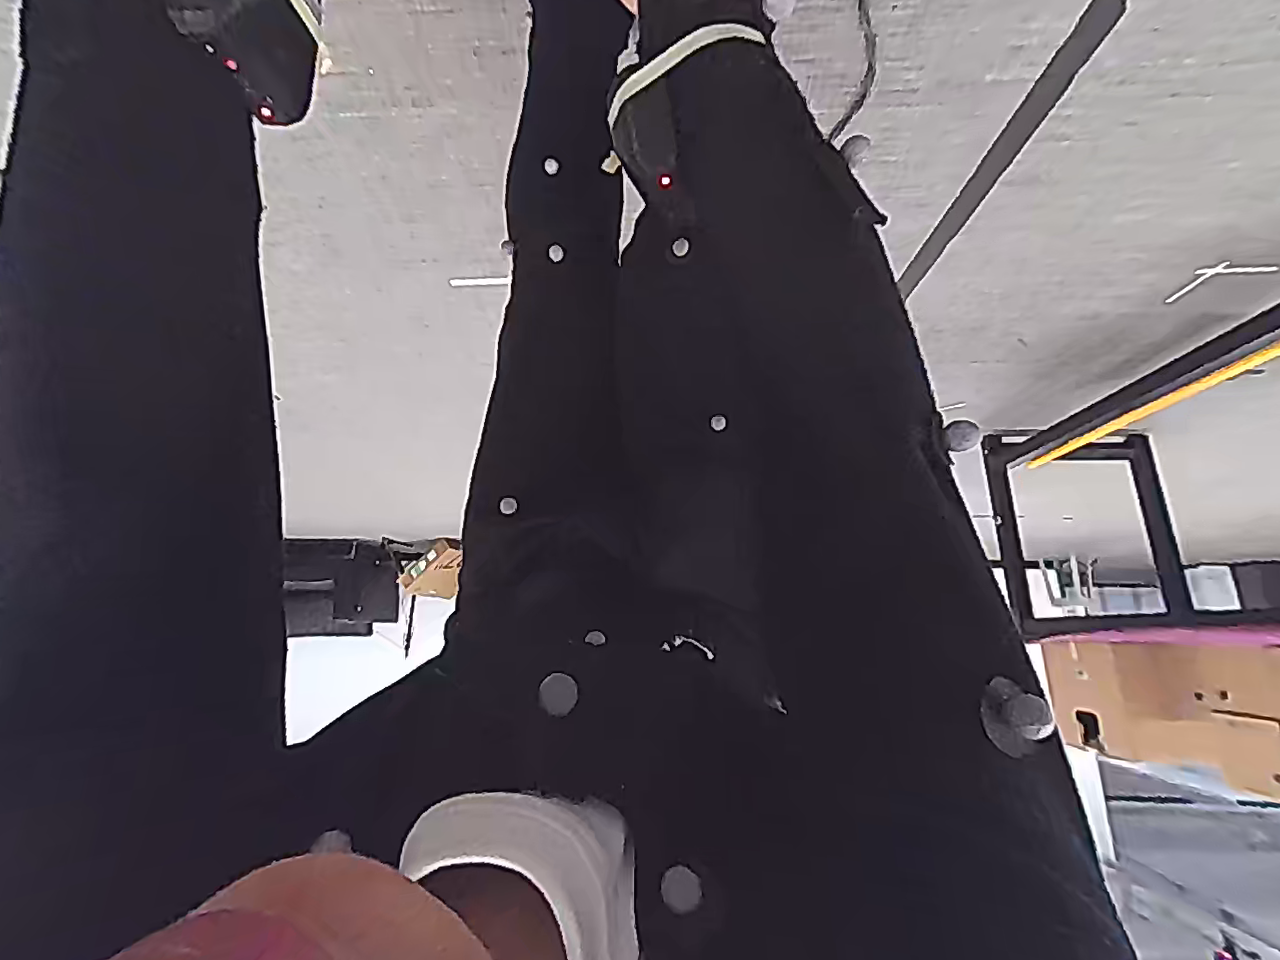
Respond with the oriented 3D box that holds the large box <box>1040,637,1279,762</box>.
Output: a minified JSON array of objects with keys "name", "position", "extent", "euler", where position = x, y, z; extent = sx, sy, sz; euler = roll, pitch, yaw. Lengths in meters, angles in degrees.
[{"name":"large box","position":[1.507,0.629,1.591],"extent":[0.408,0.320,0.320],"euler":[-1,165,3]}]

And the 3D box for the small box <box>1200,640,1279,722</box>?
[{"name":"small box","position":[1.474,0.465,1.260],"extent":[0.168,0.176,0.179],"euler":[-1,164,4]}]
